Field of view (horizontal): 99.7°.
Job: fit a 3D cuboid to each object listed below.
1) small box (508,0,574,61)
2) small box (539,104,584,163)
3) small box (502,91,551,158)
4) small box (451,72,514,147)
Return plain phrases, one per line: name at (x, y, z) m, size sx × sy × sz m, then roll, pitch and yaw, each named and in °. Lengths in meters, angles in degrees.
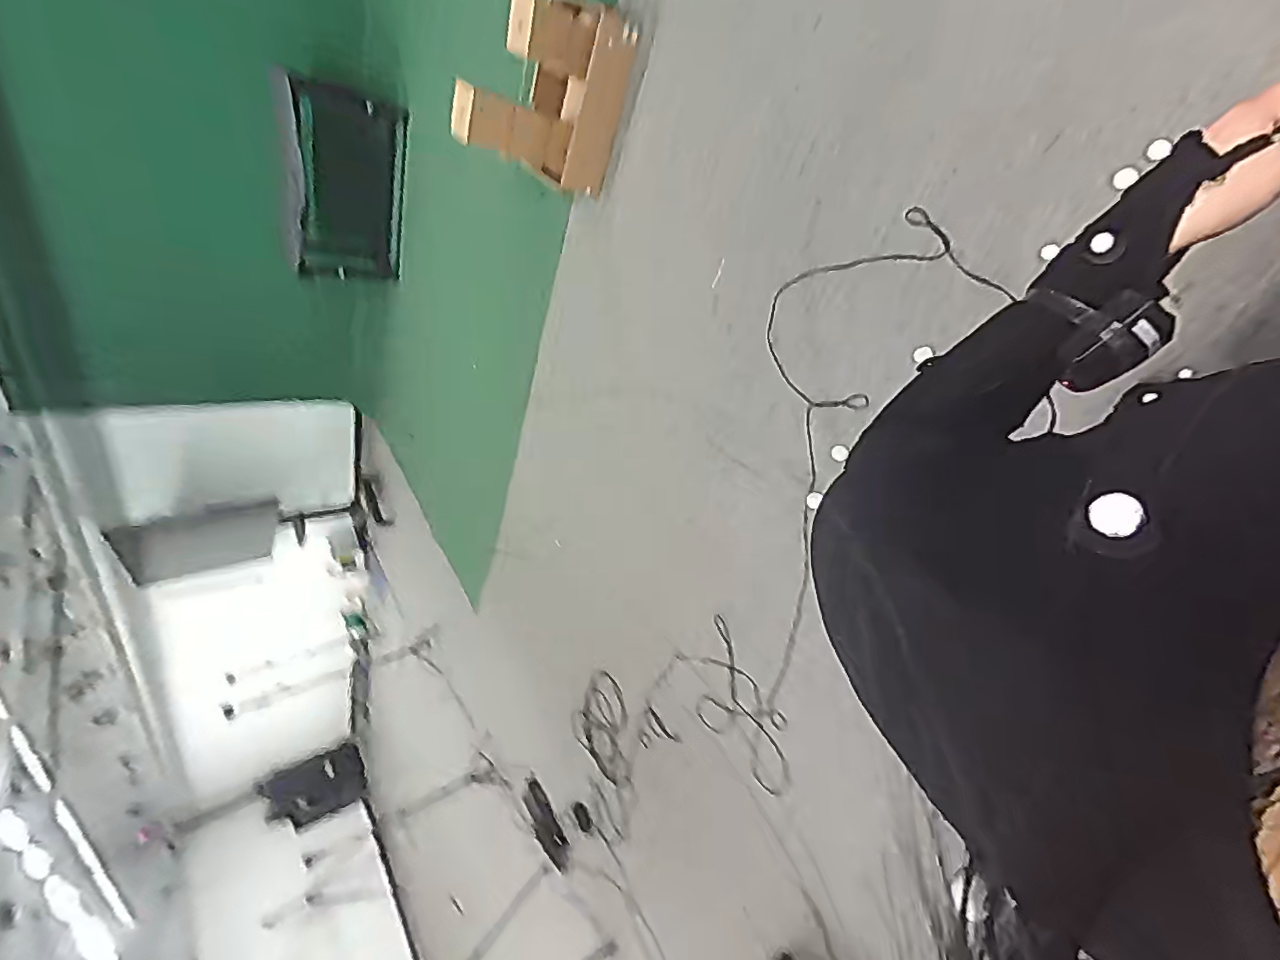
small box at (-0.363, -1.681, 1.989) m, size 0.168 × 0.176 × 0.179 m, roll 46°, pitch 131°, yaw 31°
small box at (-0.362, -1.470, 2.296) m, size 0.179 × 0.176 × 0.168 m, roll 47°, pitch 131°, yaw 31°
small box at (-0.482, -1.435, 2.188) m, size 0.168 × 0.176 × 0.179 m, roll 48°, pitch 130°, yaw 31°
small box at (-0.601, -1.418, 2.075) m, size 0.168 × 0.176 × 0.179 m, roll 48°, pitch 131°, yaw 32°
